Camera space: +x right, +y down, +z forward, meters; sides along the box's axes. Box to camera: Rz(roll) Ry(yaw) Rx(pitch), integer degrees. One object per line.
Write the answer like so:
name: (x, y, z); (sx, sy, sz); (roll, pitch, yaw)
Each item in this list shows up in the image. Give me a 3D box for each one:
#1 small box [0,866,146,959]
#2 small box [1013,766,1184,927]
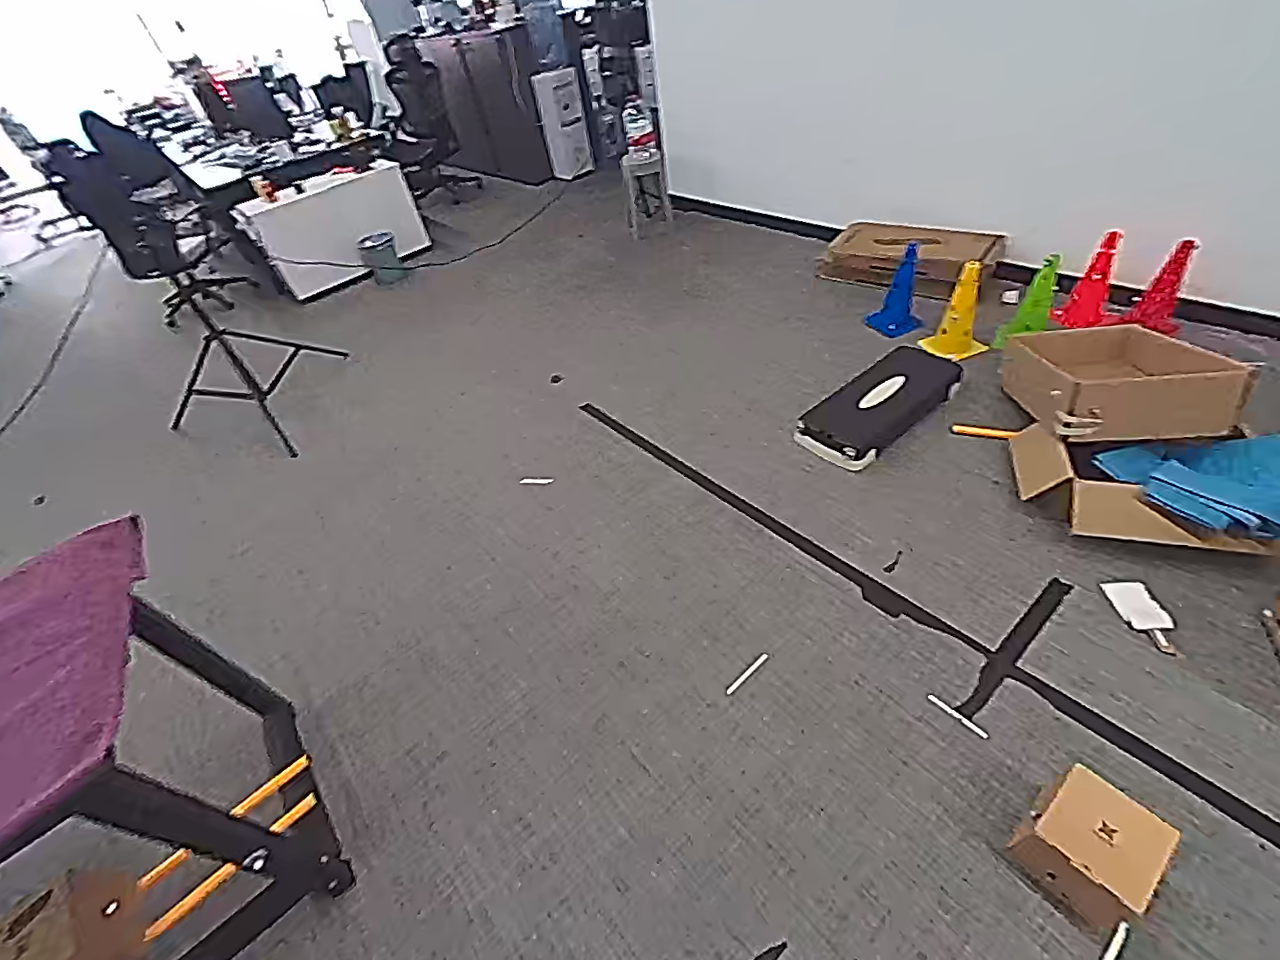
small box: (-1.120, 0.906, 1.050); (0.168, 0.176, 0.179); (-38, 53, -23)
small box: (0.842, 0.684, 1.011); (0.179, 0.176, 0.168); (-36, 49, -22)
